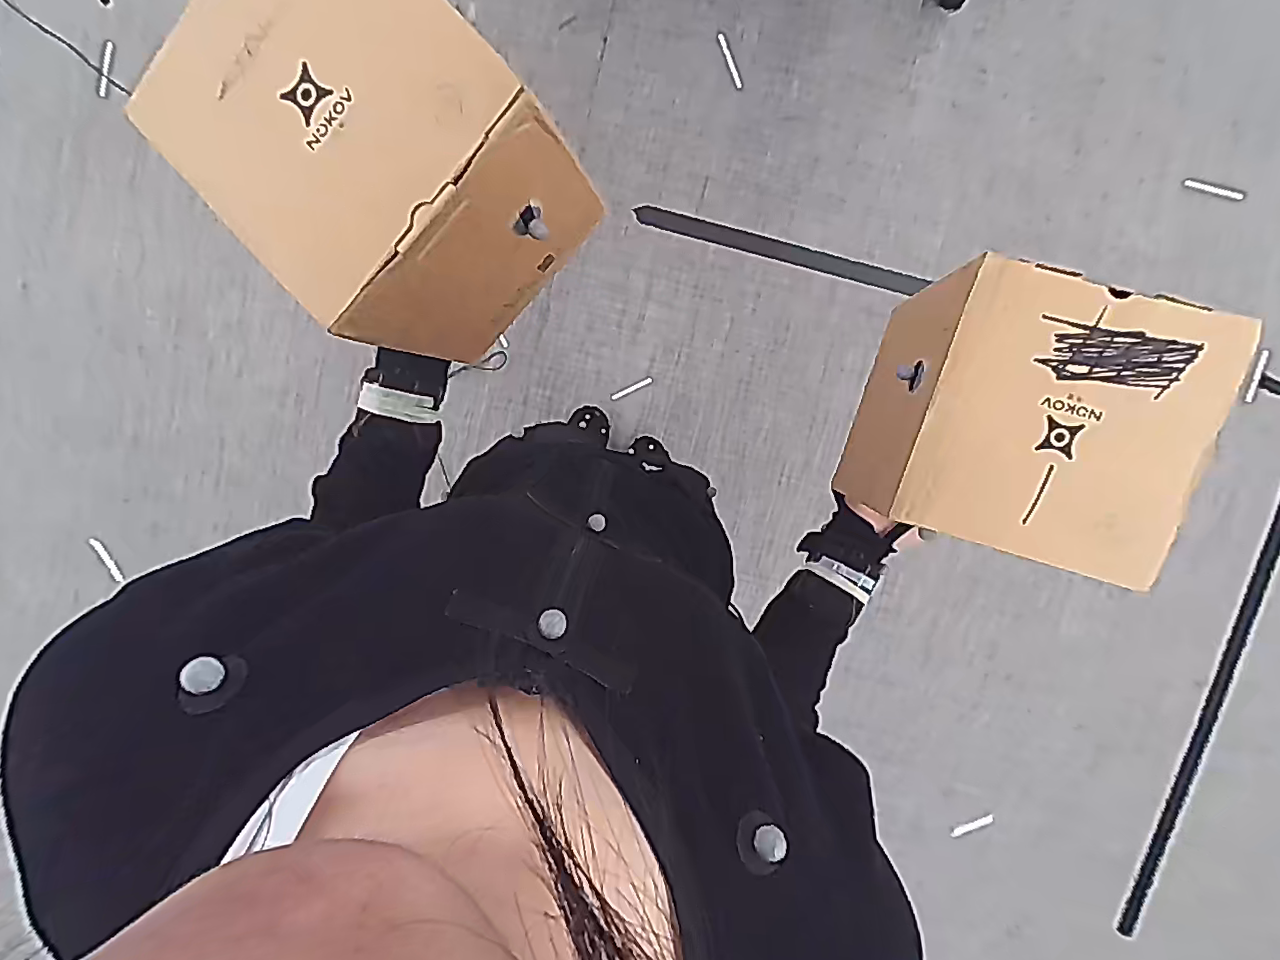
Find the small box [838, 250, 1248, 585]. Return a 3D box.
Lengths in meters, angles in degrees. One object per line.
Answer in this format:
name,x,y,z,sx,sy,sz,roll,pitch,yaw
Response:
small box,0.273,-0.046,0.419,0.168,0.176,0.179,17,98,5

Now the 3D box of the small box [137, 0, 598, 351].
small box,-0.153,-0.205,0.362,0.168,0.176,0.179,-45,87,11
